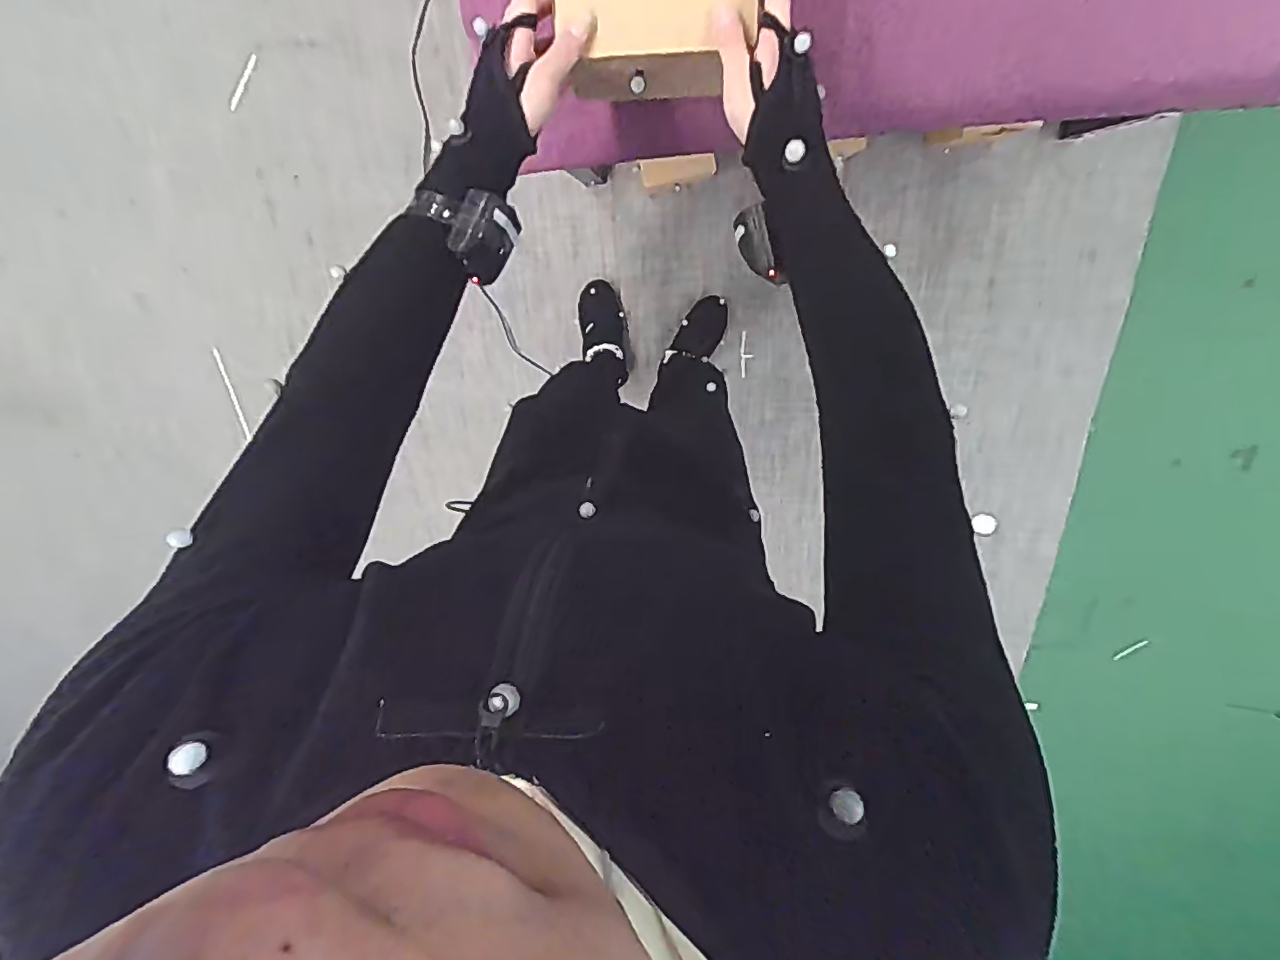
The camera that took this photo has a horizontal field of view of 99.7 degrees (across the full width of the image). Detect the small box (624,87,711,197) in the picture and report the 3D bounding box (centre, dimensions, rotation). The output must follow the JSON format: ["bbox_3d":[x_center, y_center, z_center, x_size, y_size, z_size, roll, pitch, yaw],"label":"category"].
[{"bbox_3d":[0.066,-0.761,1.240,0.168,0.176,0.179,-10,112,7],"label":"small box"}]
